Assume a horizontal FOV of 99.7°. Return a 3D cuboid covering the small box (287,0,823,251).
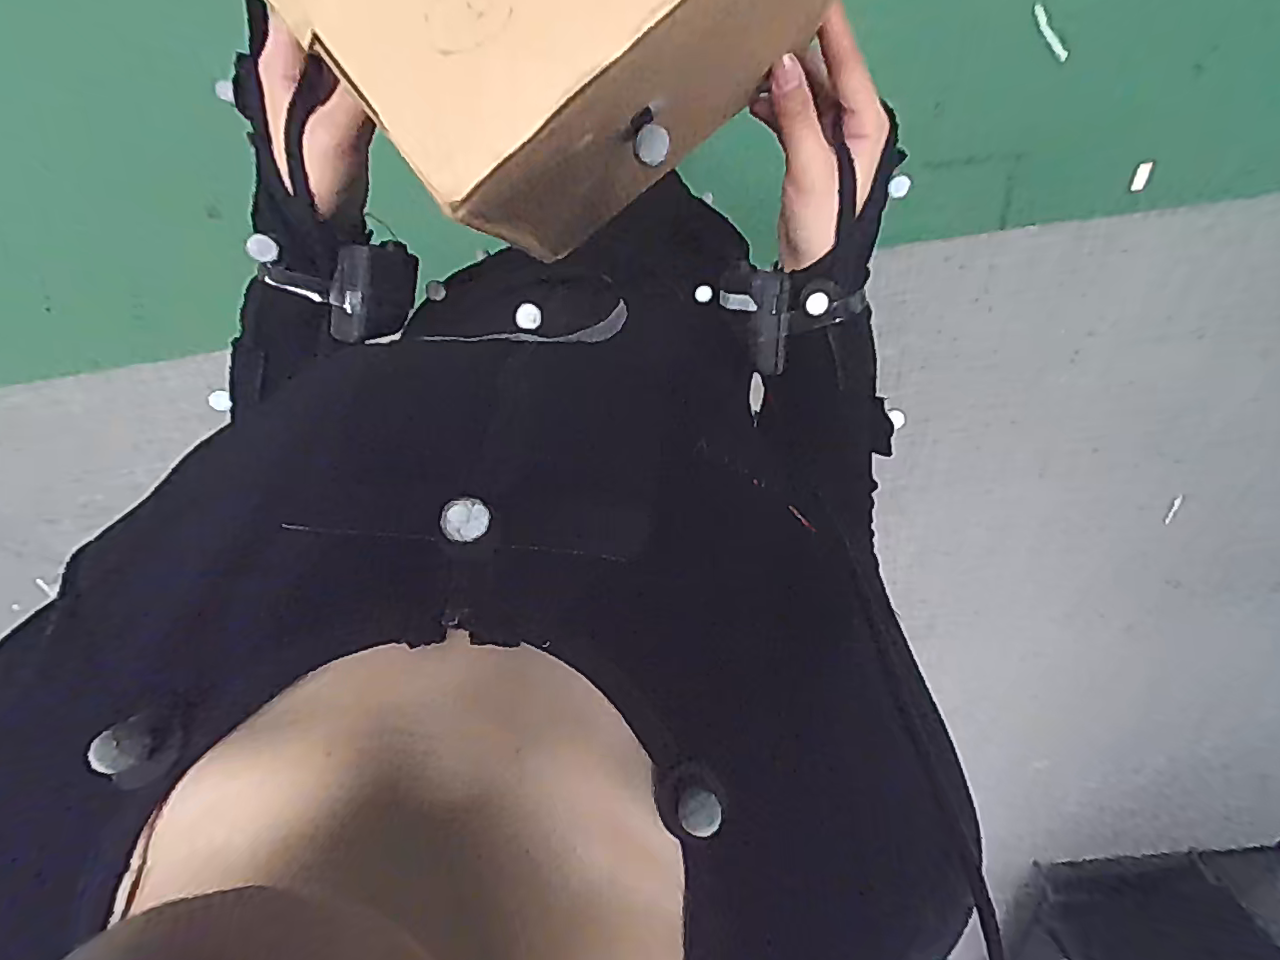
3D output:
[{"bbox_3d":[-0.032,-0.215,0.212,0.179,0.176,0.168,-34,102,12],"label":"small box"}]
